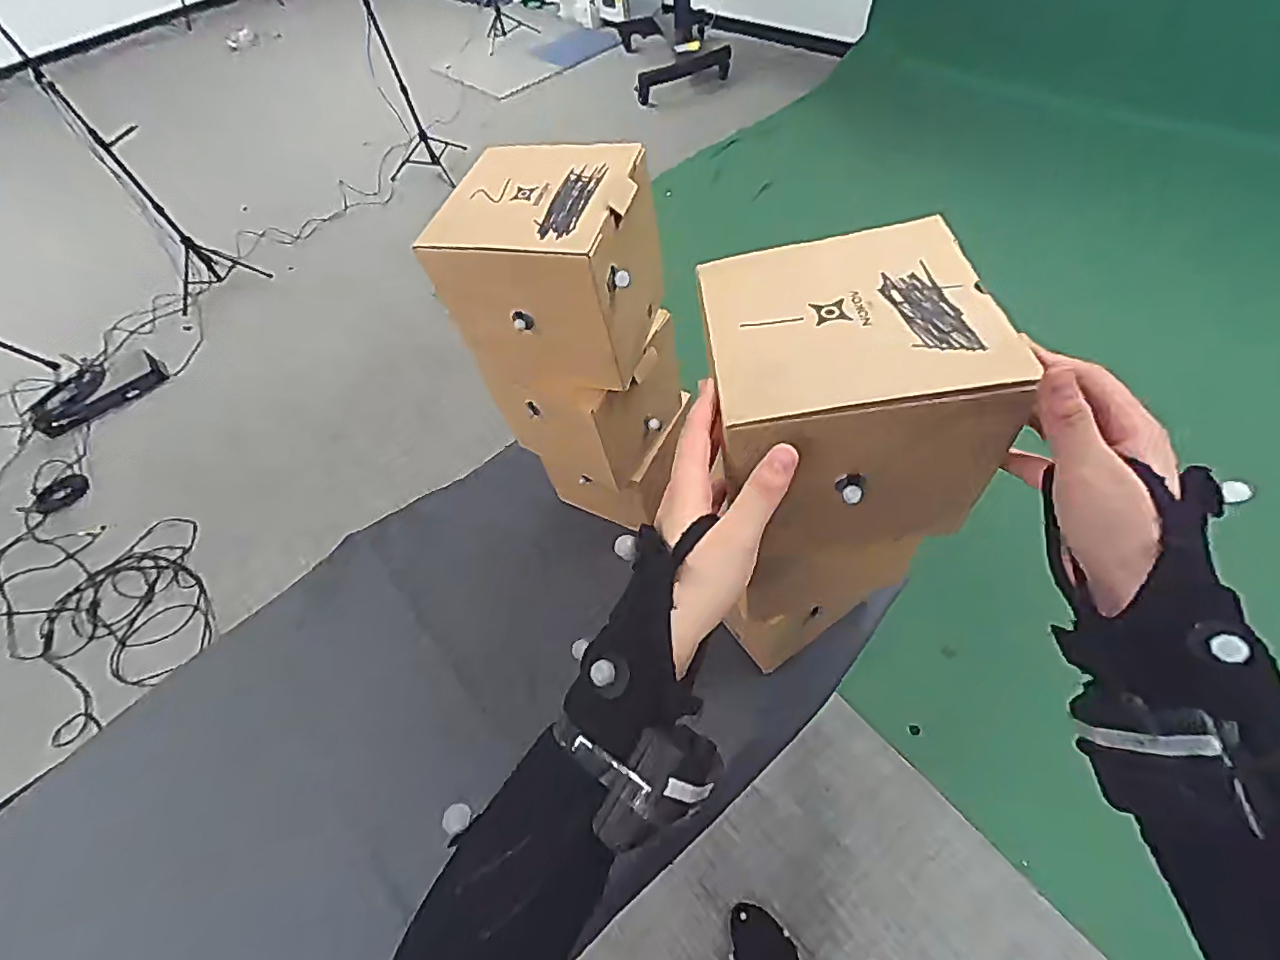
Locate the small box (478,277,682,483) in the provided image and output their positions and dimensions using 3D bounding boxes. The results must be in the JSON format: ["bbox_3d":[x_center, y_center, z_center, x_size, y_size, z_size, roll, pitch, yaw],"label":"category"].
[{"bbox_3d":[-0.063,-0.122,0.687,0.179,0.176,0.168,24,66,23],"label":"small box"}]

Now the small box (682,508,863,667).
[{"bbox_3d":[0.178,0.108,0.688,0.179,0.176,0.168,-34,55,-11],"label":"small box"}]

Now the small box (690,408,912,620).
[{"bbox_3d":[0.162,0.022,0.549,0.179,0.176,0.168,-16,53,0],"label":"small box"}]

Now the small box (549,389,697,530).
[{"bbox_3d":[-0.024,-0.046,0.830,0.179,0.176,0.168,21,64,20],"label":"small box"}]

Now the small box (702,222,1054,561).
[{"bbox_3d":[0.144,-0.054,0.400,0.179,0.176,0.168,-7,55,8],"label":"small box"}]
